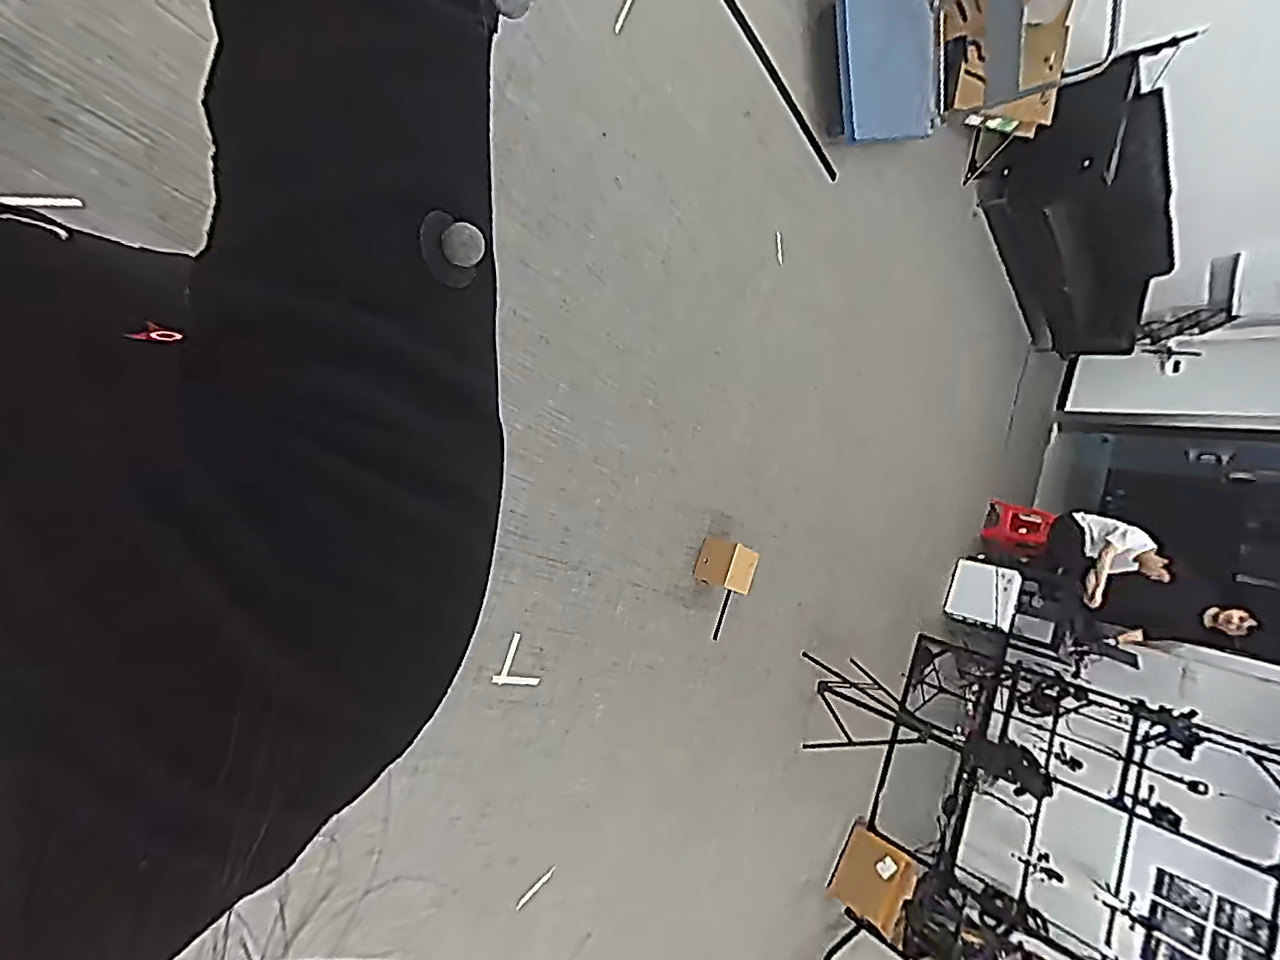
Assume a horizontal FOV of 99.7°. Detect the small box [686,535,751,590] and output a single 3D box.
[{"bbox_3d":[0.323,0.339,2.196,0.168,0.176,0.179,28,79,-42],"label":"small box"}]
